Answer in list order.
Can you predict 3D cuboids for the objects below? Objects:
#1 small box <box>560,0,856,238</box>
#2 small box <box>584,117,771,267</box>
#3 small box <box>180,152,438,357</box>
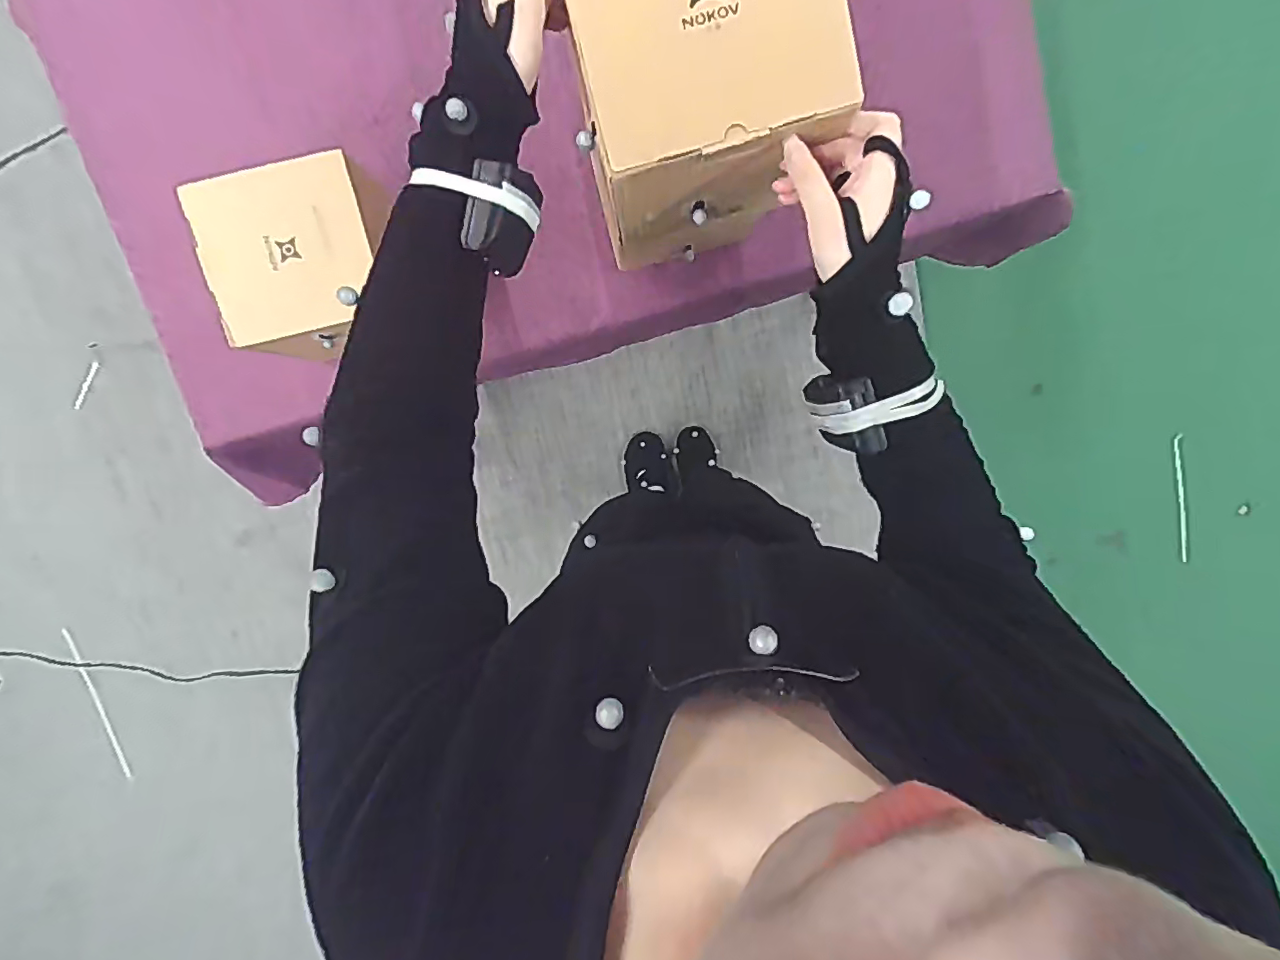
[{"bbox_3d":[0.037,-0.314,0.413,0.168,0.176,0.179,-15,99,2],"label":"small box"},{"bbox_3d":[0.035,-0.366,0.628,0.179,0.176,0.168,-14,98,0],"label":"small box"},{"bbox_3d":[-0.368,-0.247,0.637,0.179,0.176,0.168,-13,99,0],"label":"small box"}]
